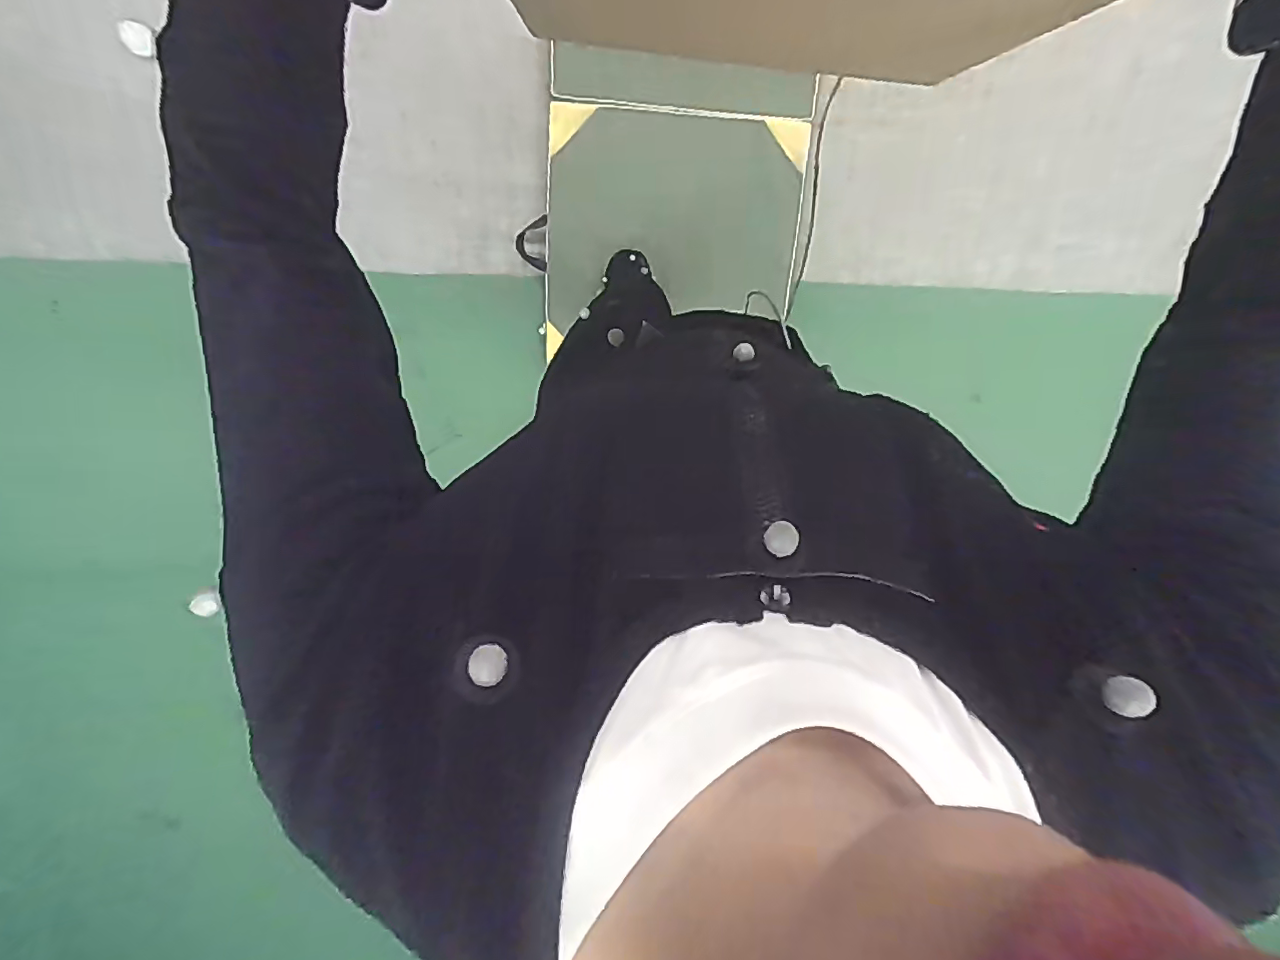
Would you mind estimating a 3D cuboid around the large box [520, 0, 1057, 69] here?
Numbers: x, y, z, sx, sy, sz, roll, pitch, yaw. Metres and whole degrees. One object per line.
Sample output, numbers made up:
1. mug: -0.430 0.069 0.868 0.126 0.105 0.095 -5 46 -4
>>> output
1. large box: 0.106 -0.492 0.329 0.408 0.320 0.320 4 116 -3
